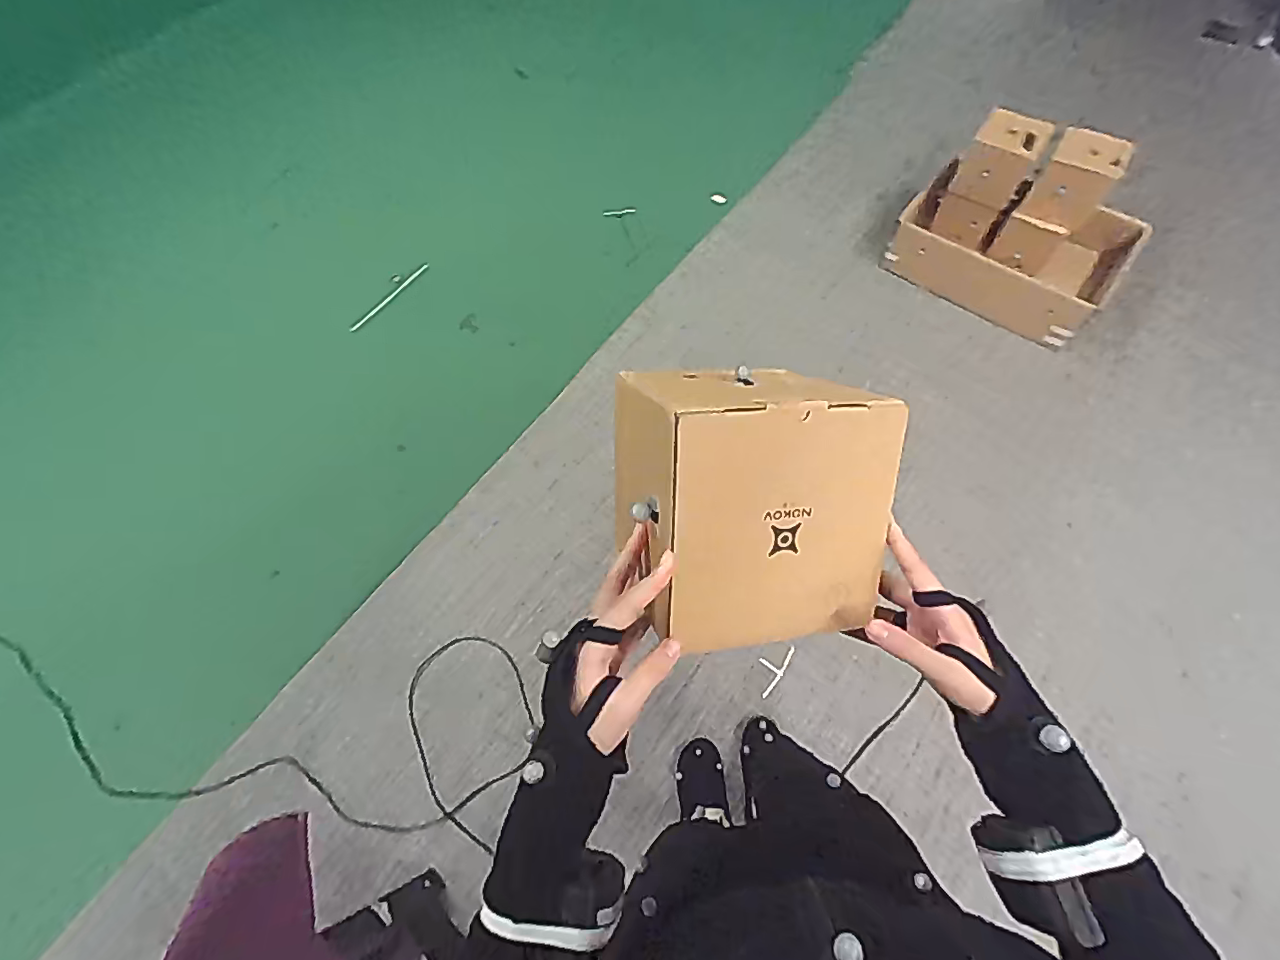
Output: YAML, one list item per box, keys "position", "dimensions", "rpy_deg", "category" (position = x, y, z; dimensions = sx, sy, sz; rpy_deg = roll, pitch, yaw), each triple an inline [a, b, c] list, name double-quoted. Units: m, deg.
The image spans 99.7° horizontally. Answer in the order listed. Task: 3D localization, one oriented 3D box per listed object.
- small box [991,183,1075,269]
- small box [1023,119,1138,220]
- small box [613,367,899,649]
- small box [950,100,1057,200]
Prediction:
- position: [1.238, -0.799, 1.680]
  dimensions: [0.168, 0.176, 0.179]
  rpy_deg: [35, 74, 21]
  category: "small box"
- position: [1.238, -0.875, 1.534]
  dimensions: [0.179, 0.176, 0.168]
  rpy_deg: [30, 72, 19]
  category: "small box"
- position: [0.074, 0.007, 0.441]
  dimensions: [0.168, 0.176, 0.179]
  rpy_deg: [-4, 108, -13]
  category: "small box"
- position: [1.060, -0.963, 1.590]
  dimensions: [0.179, 0.176, 0.168]
  rpy_deg: [31, 73, 17]
  category: "small box"
